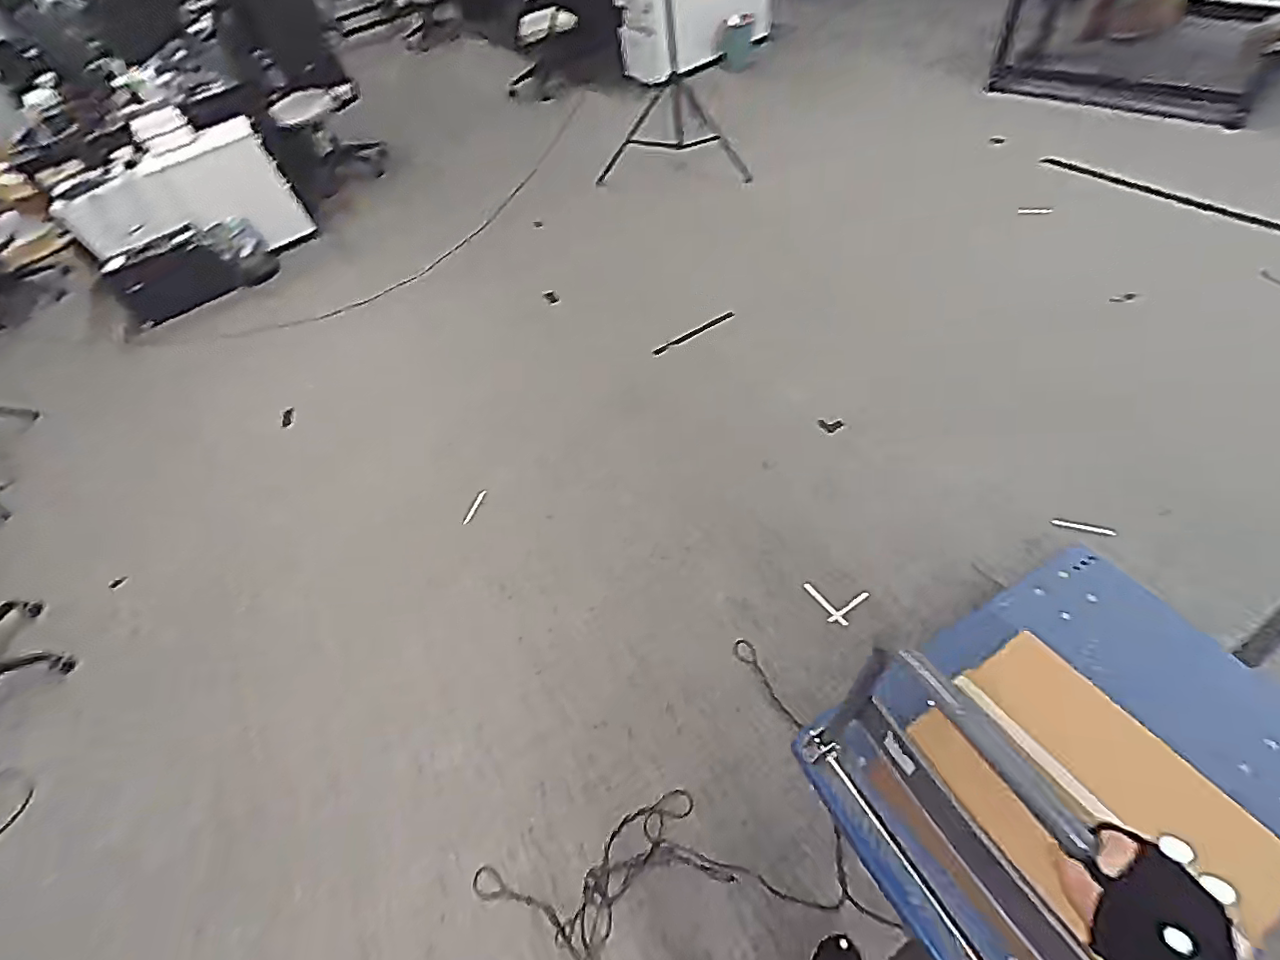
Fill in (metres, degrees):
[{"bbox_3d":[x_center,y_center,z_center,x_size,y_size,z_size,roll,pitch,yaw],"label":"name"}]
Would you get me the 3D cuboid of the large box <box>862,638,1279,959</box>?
[{"bbox_3d":[0.660,0.557,0.914,0.320,0.320,0.408,-32,55,-12],"label":"large box"}]
